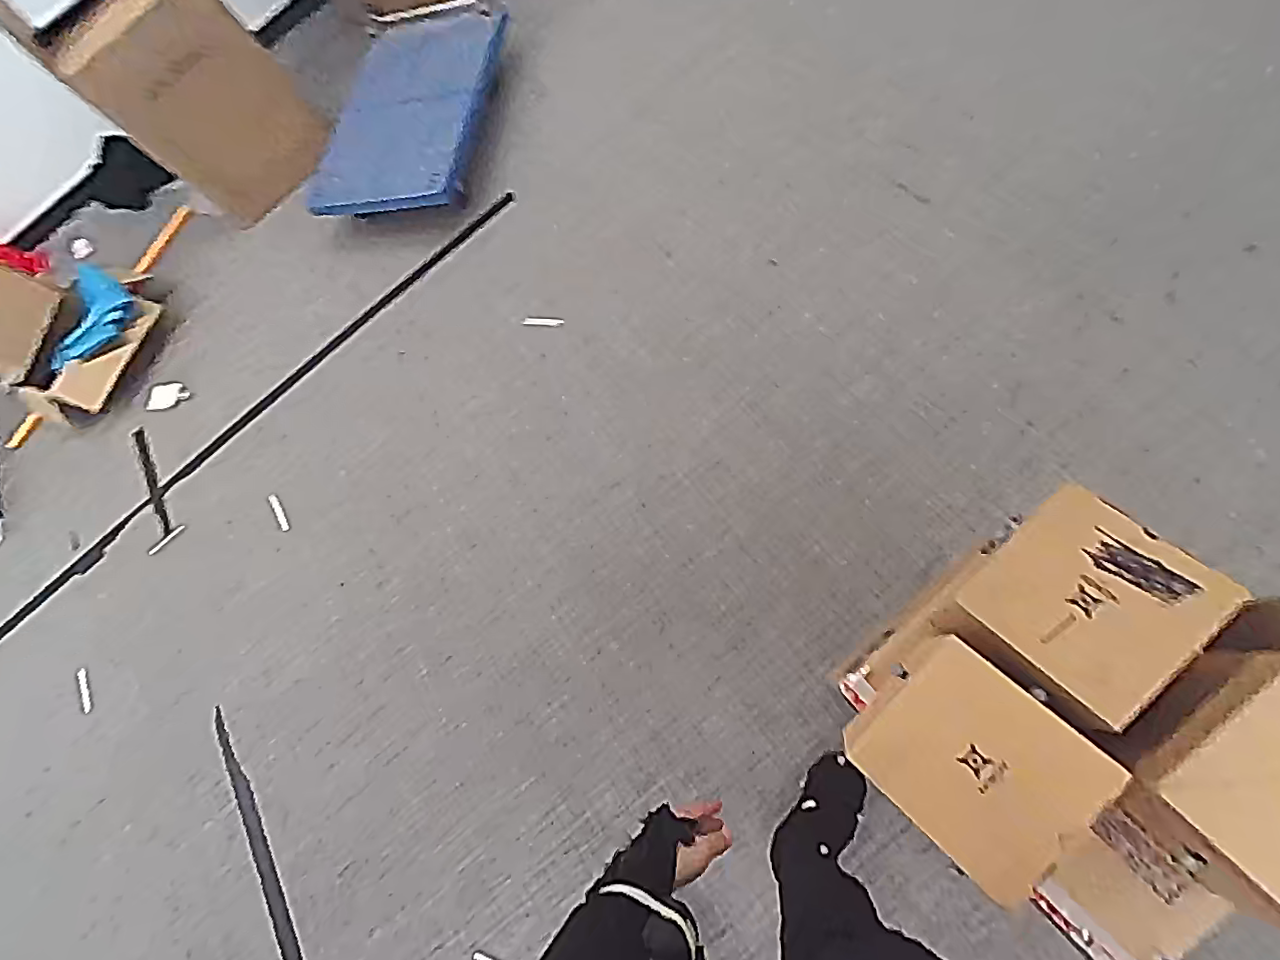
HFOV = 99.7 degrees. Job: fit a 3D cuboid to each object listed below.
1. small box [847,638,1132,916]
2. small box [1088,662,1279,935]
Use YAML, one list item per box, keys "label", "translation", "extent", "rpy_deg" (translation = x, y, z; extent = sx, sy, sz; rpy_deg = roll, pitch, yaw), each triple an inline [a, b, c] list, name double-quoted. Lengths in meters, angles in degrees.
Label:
- label: "small box"
  translation: [0.341, 0.293, 0.576]
  extent: [0.179, 0.176, 0.168]
  rpy_deg: [42, 89, 25]
- label: "small box"
  translation: [0.571, 0.289, 0.498]
  extent: [0.179, 0.176, 0.168]
  rpy_deg: [-43, 68, 0]
